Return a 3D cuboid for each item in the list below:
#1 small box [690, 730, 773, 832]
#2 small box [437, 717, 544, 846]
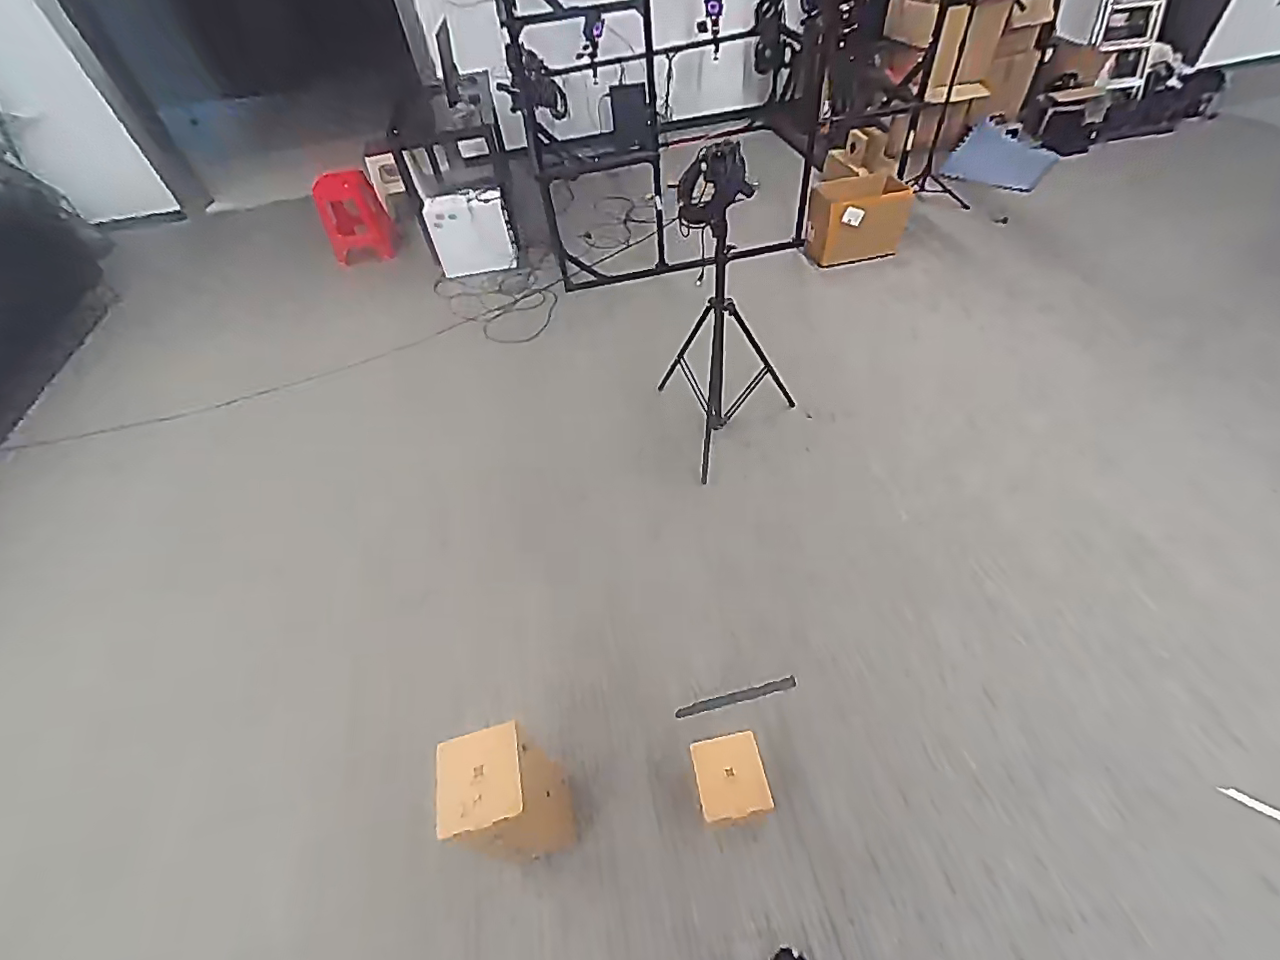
[{"bbox_3d":[0.223,0.760,1.362,0.168,0.176,0.179,-11,49,-3],"label":"small box"},{"bbox_3d":[-0.304,0.622,1.113,0.168,0.176,0.179,-15,49,-4],"label":"small box"}]
